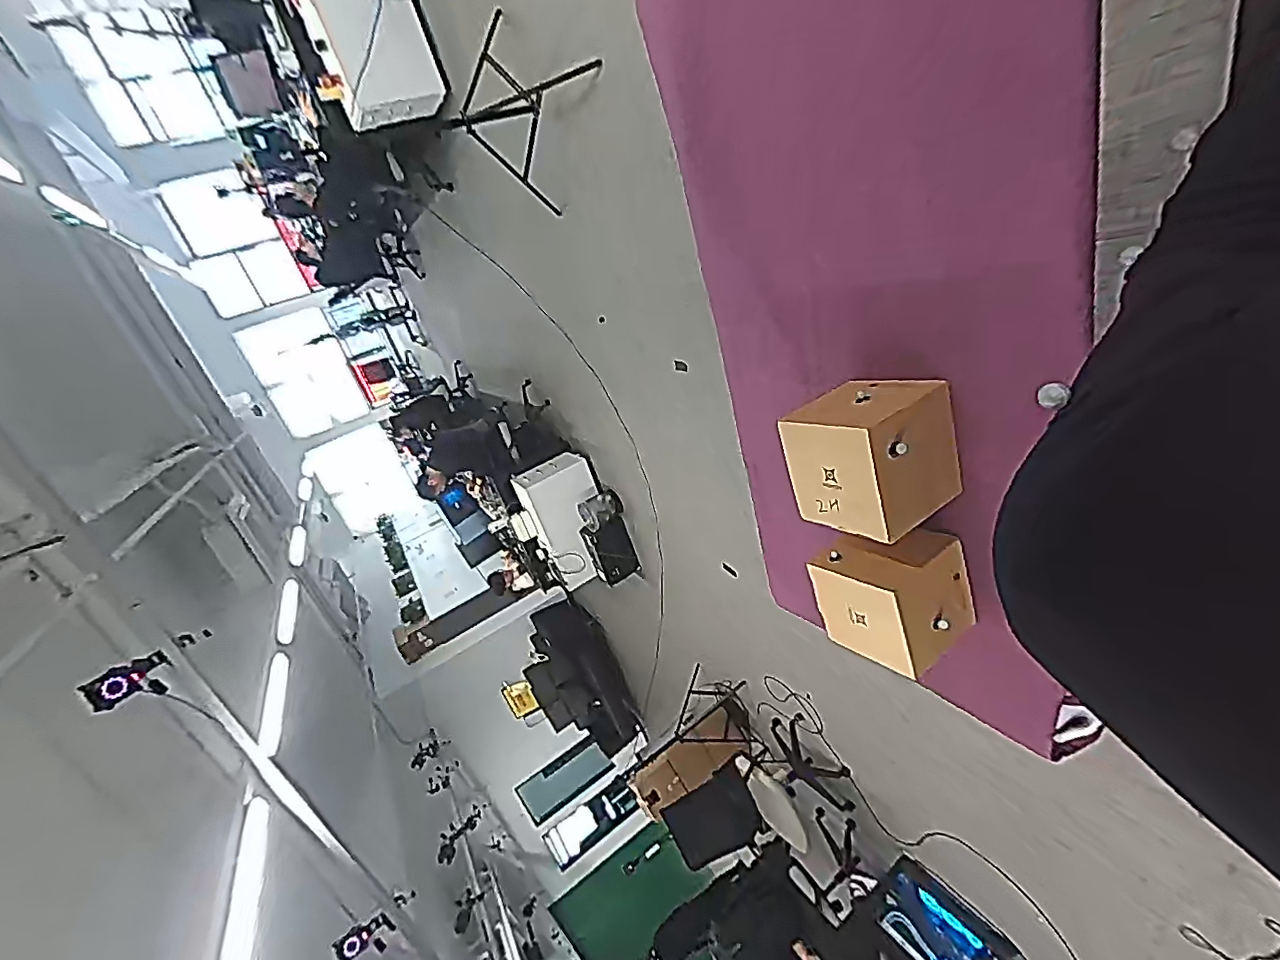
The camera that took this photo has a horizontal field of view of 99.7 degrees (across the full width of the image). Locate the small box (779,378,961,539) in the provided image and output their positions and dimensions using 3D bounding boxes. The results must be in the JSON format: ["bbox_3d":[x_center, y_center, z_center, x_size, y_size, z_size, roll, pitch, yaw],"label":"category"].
[{"bbox_3d":[0.340,-0.043,0.799,0.168,0.176,0.179,19,133,61],"label":"small box"}]

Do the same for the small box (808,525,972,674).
[{"bbox_3d":[0.420,0.179,0.897,0.179,0.176,0.168,14,129,63],"label":"small box"}]
